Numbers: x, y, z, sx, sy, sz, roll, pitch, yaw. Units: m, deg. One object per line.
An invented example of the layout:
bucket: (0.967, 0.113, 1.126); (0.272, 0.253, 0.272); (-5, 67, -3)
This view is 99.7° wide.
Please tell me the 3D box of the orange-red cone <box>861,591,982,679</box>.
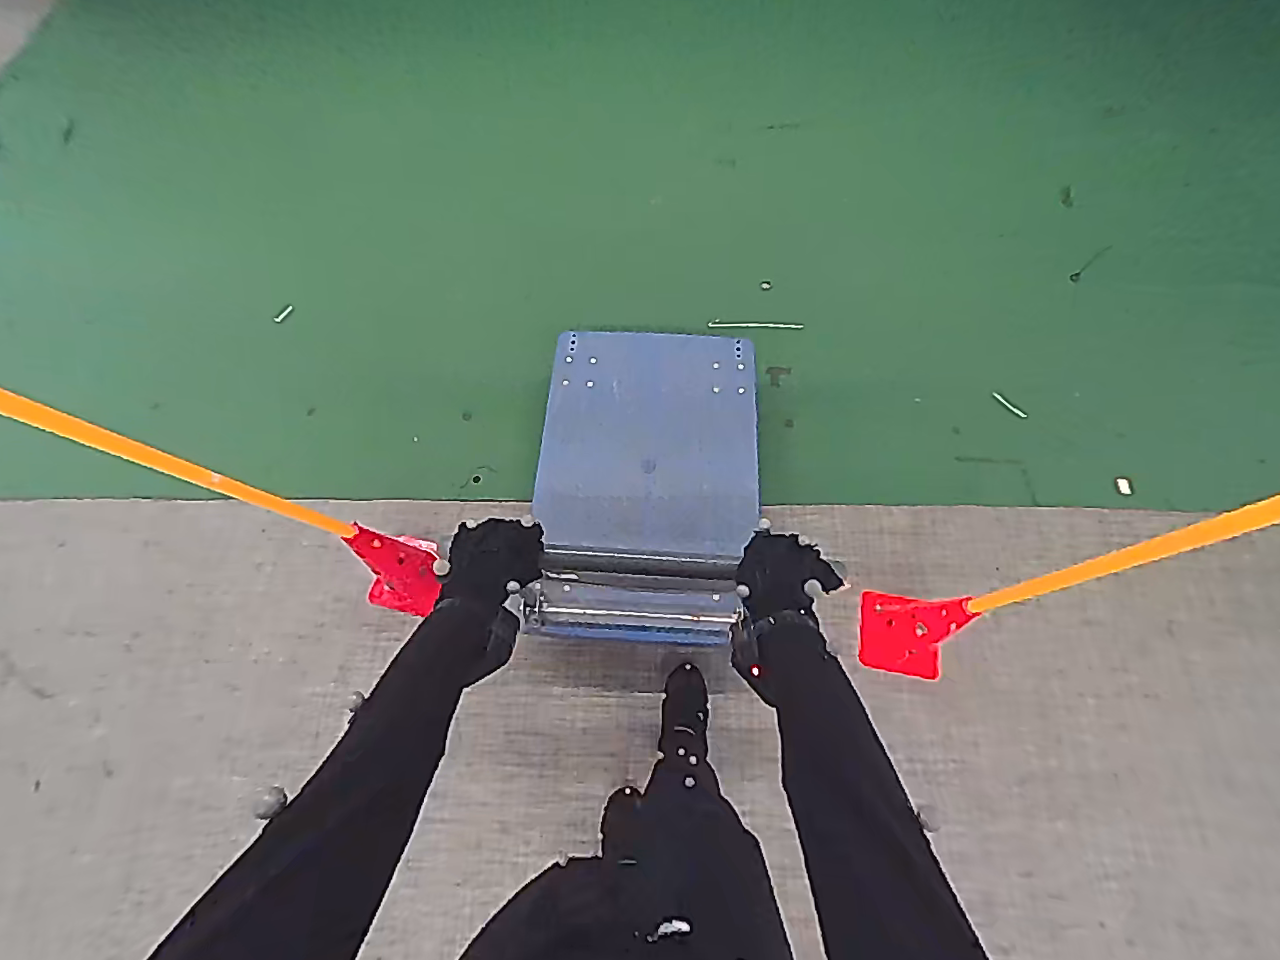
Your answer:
orange-red cone: (0.669, 0.324, 1.235); (0.198, 0.360, 0.199); (10, 66, 6)
